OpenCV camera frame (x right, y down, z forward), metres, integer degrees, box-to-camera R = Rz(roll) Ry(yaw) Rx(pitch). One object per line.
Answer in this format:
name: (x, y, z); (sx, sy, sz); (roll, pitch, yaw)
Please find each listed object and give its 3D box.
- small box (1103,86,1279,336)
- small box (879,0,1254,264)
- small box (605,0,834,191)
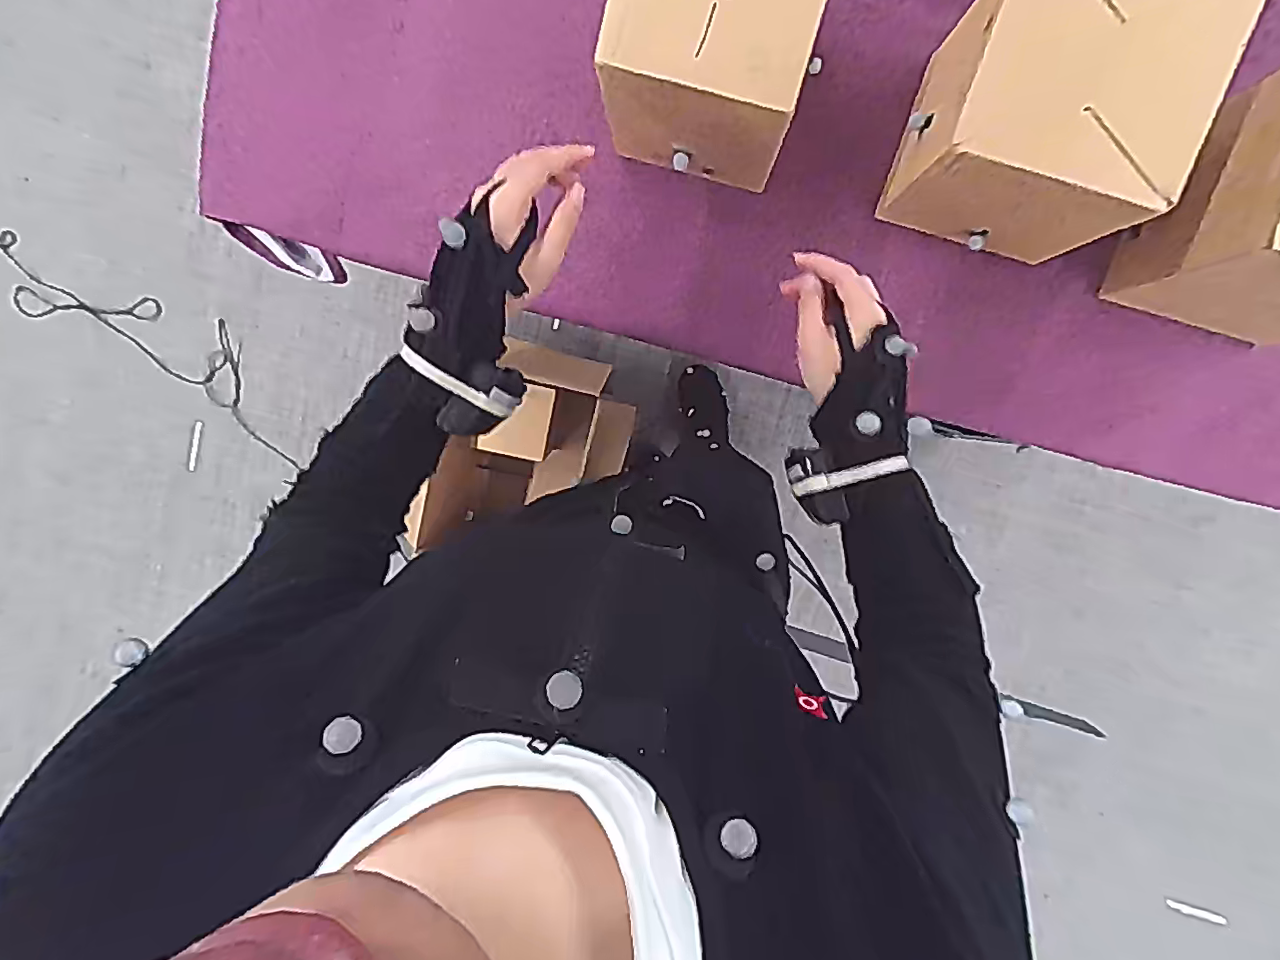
small box: (0.583, -0.236, 0.478); (0.179, 0.176, 0.168); (18, 97, 2)
small box: (0.353, -0.321, 0.484); (0.179, 0.176, 0.168); (18, 98, 3)
small box: (0.076, -0.404, 0.497); (0.168, 0.176, 0.179); (17, 99, 2)
